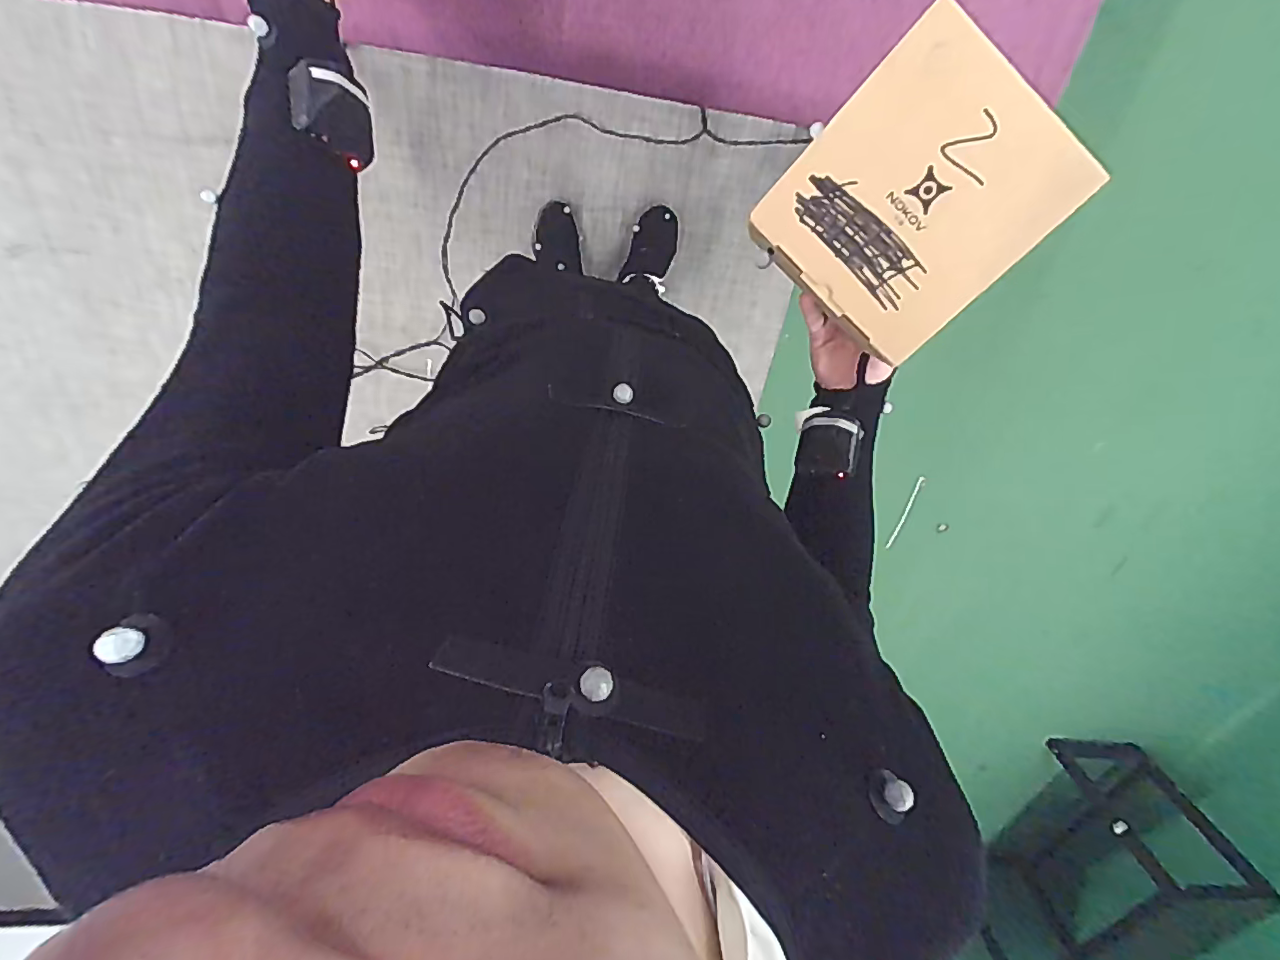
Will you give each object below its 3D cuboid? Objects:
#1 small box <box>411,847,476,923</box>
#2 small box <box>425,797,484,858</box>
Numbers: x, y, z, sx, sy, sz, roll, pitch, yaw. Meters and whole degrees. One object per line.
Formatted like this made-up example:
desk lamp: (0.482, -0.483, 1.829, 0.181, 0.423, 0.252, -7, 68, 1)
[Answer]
small box: (-0.622, 1.306, 1.721, 0.168, 0.176, 0.179, 7, 117, -9)
small box: (-0.637, 1.230, 1.863, 0.168, 0.176, 0.179, 7, 118, -10)
